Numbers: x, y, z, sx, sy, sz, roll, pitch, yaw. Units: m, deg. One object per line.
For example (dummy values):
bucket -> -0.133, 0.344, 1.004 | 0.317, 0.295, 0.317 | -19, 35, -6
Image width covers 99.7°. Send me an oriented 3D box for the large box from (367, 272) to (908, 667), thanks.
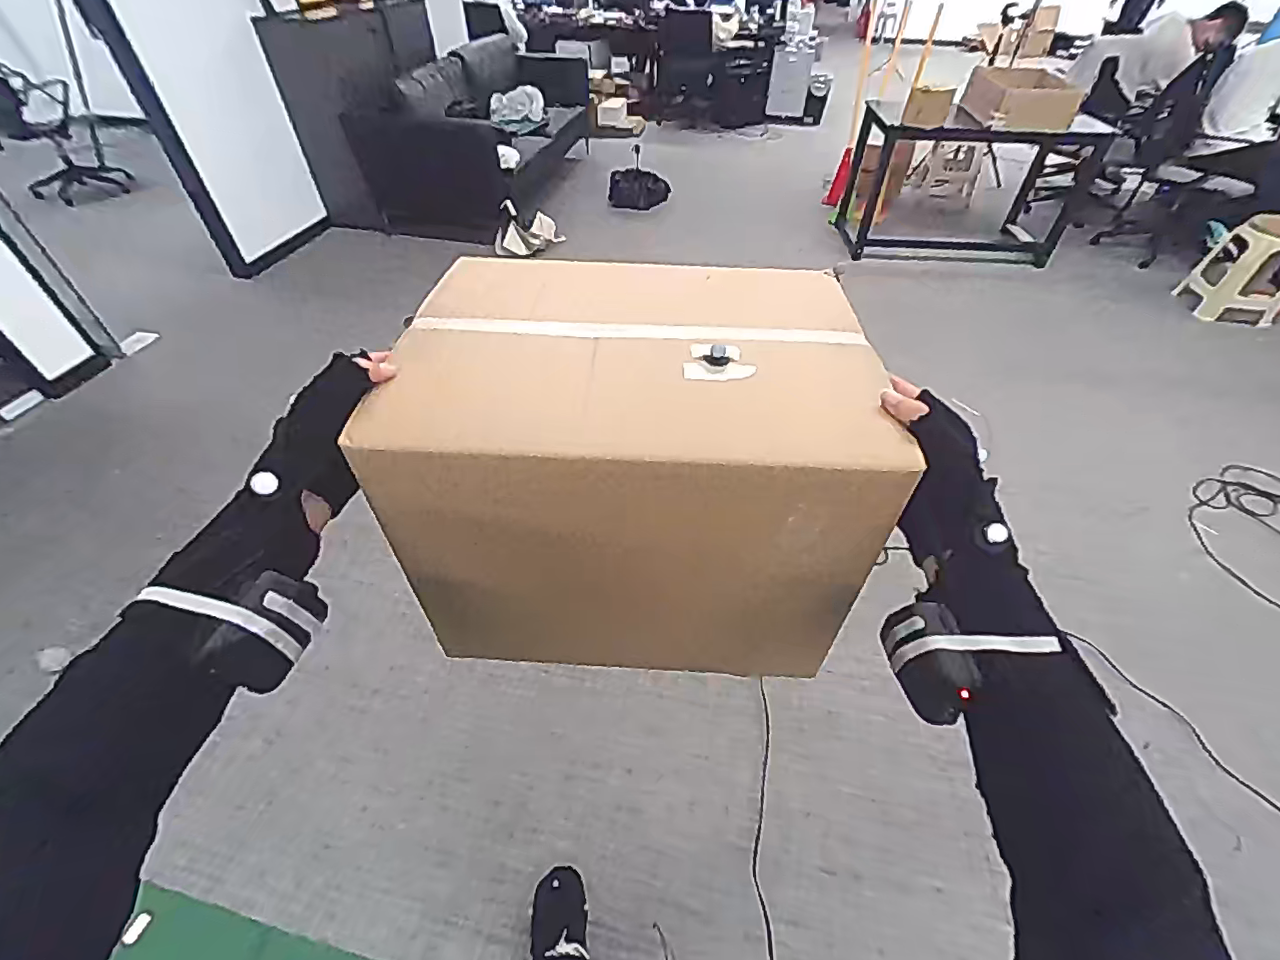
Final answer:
large box -> -0.004, -0.011, 0.598 | 0.408, 0.320, 0.320 | 3, 45, 0
